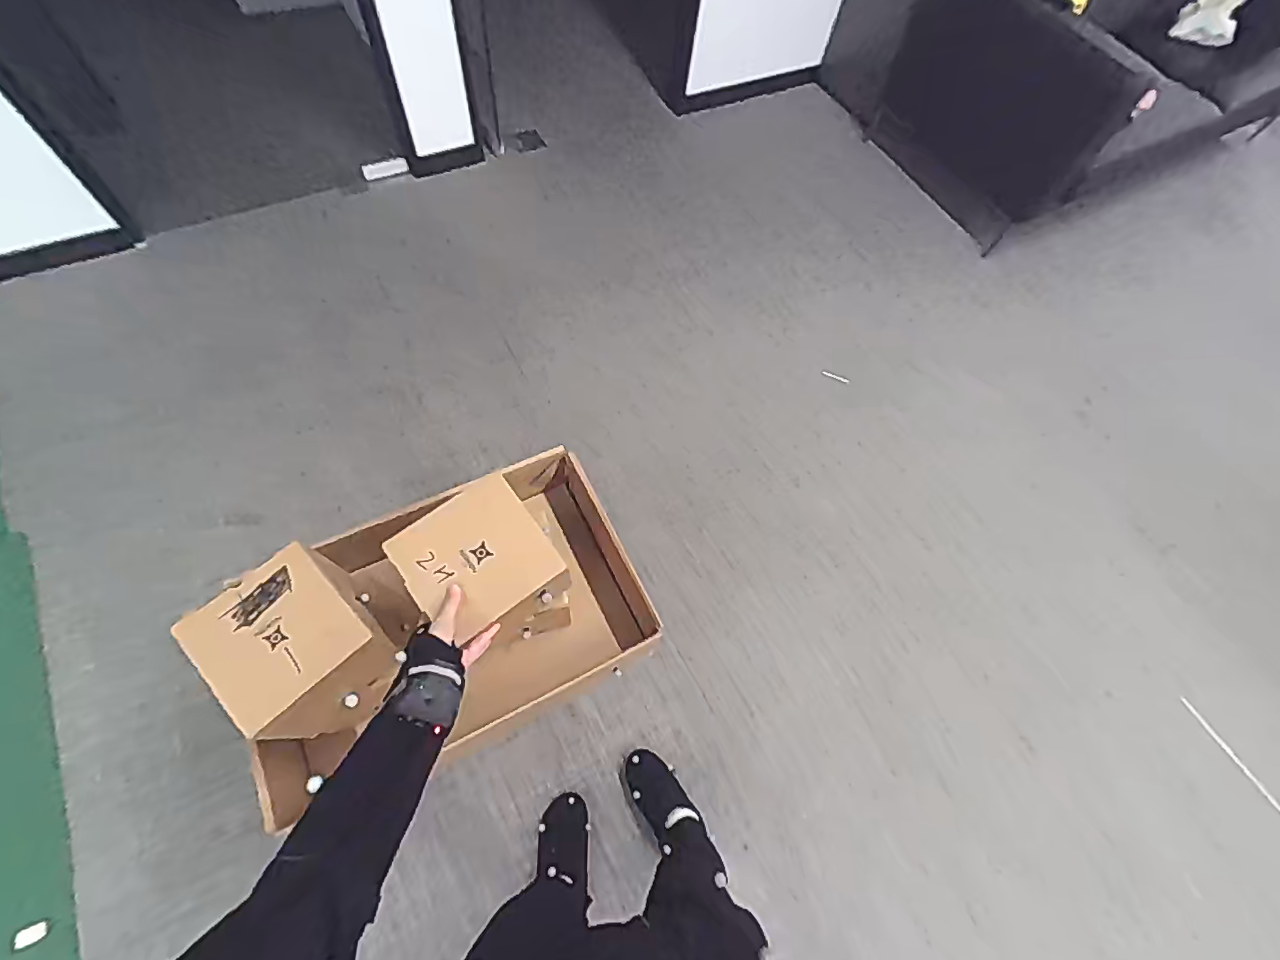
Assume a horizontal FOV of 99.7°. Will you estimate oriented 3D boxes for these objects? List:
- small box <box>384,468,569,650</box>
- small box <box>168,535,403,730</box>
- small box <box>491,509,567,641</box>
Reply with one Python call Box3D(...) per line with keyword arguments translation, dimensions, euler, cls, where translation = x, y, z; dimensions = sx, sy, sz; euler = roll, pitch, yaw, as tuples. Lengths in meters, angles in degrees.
Box3D(translation=(-0.215, 0.117, 0.755), dimensions=(0.179, 0.176, 0.168), euler=(-33, 75, -16), cls="small box")
Box3D(translation=(-0.453, 0.209, 0.721), dimensions=(0.168, 0.176, 0.179), euler=(-40, 76, -21), cls="small box")
Box3D(translation=(-0.226, 0.174, 0.947), dimensions=(0.168, 0.176, 0.179), euler=(-13, 67, -12), cls="small box")
